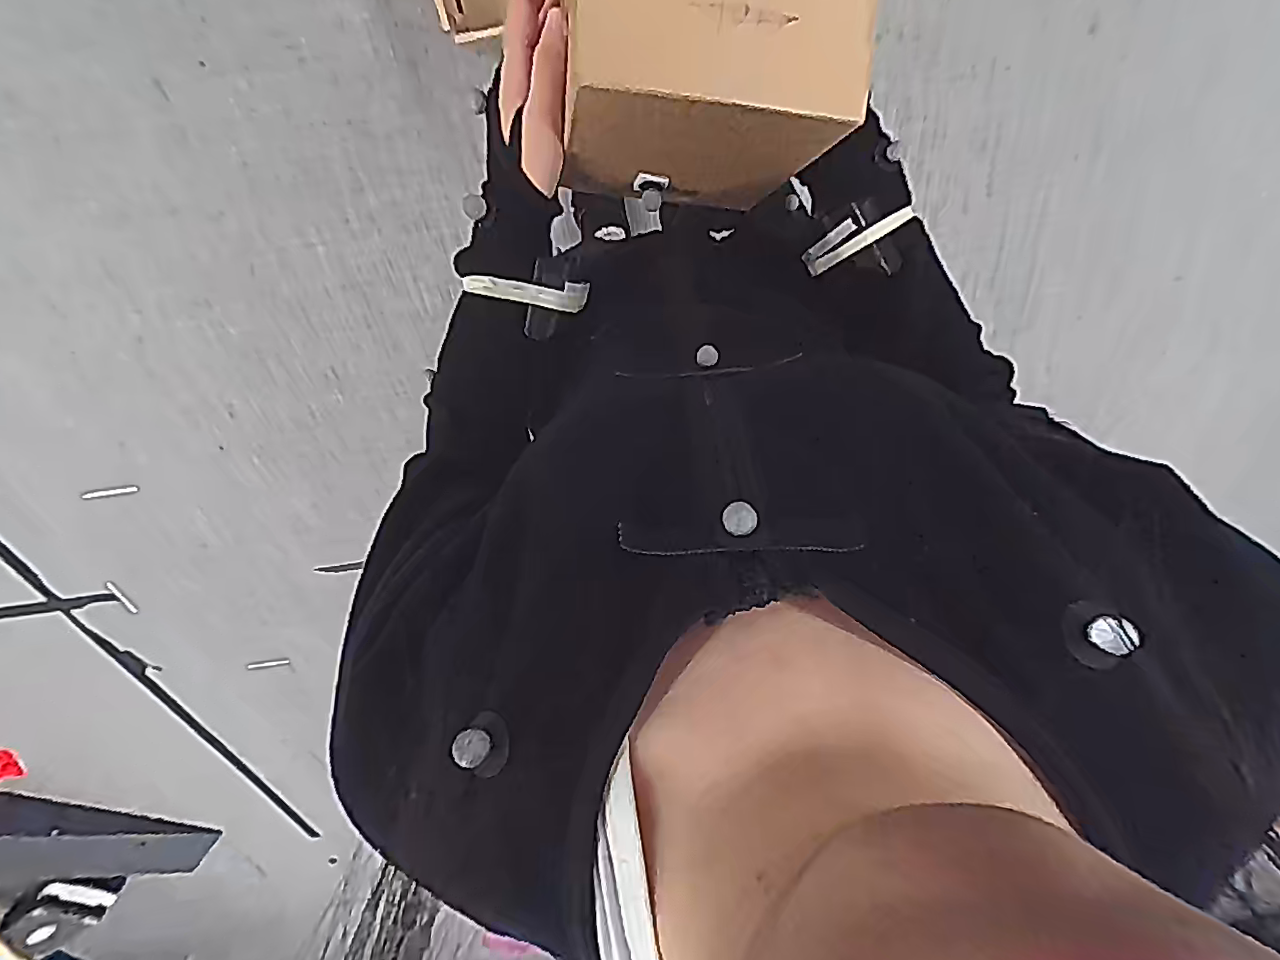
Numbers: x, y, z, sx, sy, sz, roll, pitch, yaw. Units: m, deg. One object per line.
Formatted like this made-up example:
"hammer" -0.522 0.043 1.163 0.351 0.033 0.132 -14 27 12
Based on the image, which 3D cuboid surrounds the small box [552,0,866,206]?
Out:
"small box" 0.030 -0.308 0.357 0.168 0.176 0.179 0 100 -12
